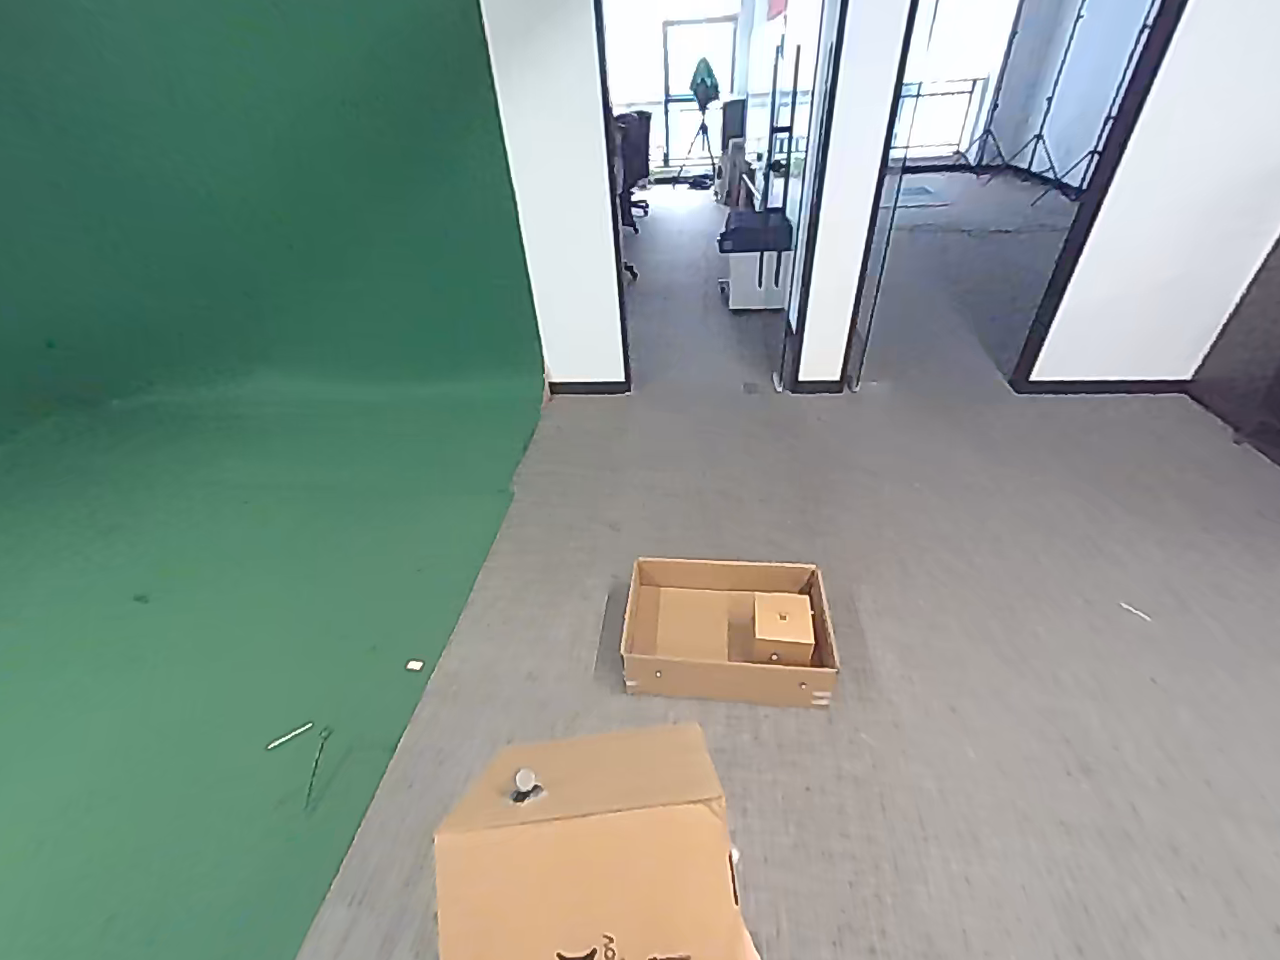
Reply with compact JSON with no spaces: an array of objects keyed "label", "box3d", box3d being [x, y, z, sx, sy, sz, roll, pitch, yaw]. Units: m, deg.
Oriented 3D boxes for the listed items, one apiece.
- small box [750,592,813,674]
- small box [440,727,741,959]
[{"label":"small box","box3d":[0.427,0.468,1.647,0.168,0.176,0.179,3,38,9]},{"label":"small box","box3d":[-0.027,0.293,0.391,0.179,0.176,0.168,-6,81,-1]}]
